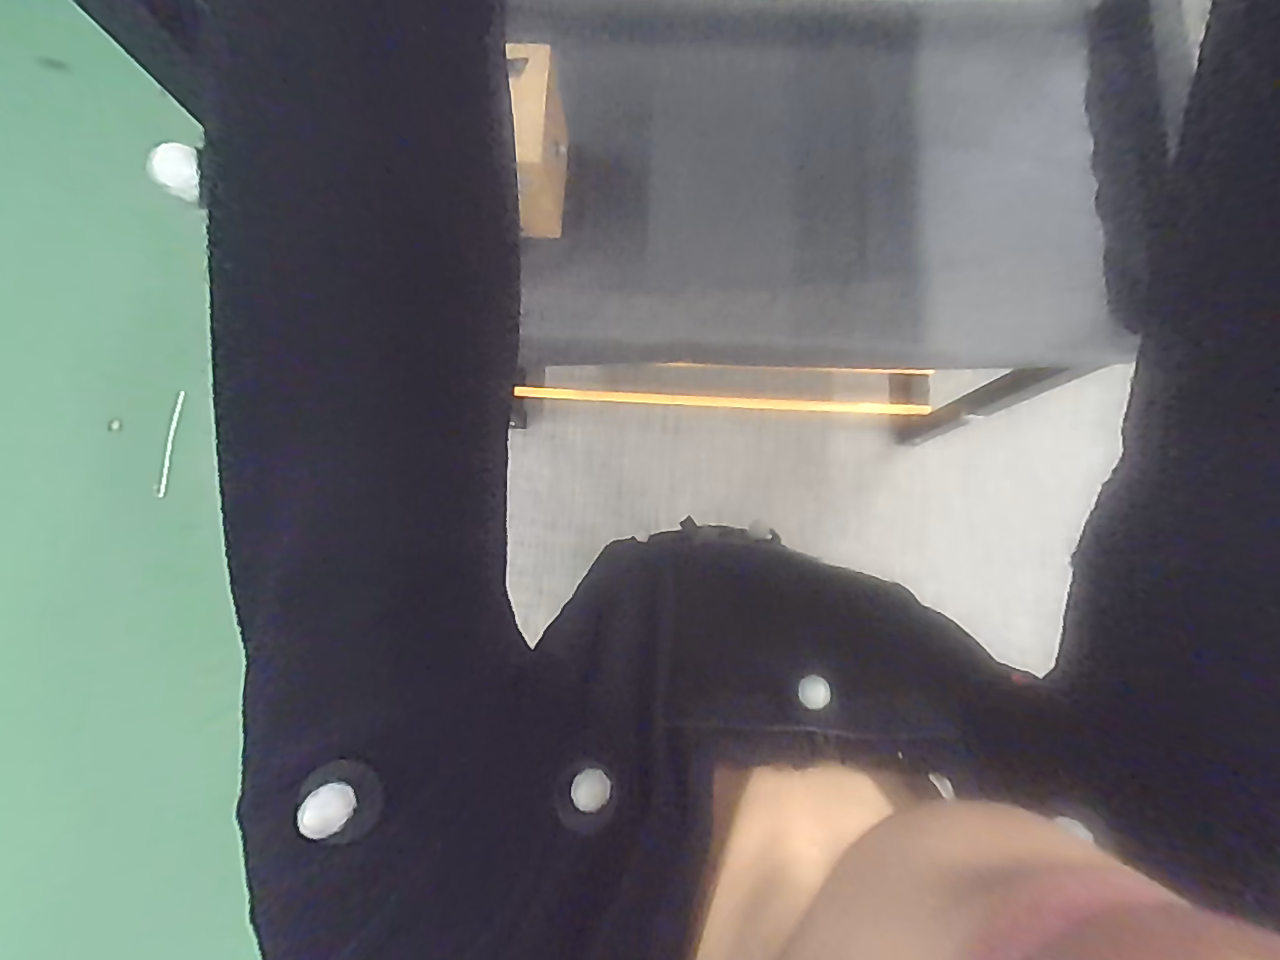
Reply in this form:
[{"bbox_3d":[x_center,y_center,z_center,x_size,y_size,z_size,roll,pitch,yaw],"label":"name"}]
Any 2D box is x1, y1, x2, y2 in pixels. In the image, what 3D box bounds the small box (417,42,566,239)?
[{"bbox_3d":[-0.202,-0.483,0.788,0.168,0.176,0.179,3,82,1],"label":"small box"}]
